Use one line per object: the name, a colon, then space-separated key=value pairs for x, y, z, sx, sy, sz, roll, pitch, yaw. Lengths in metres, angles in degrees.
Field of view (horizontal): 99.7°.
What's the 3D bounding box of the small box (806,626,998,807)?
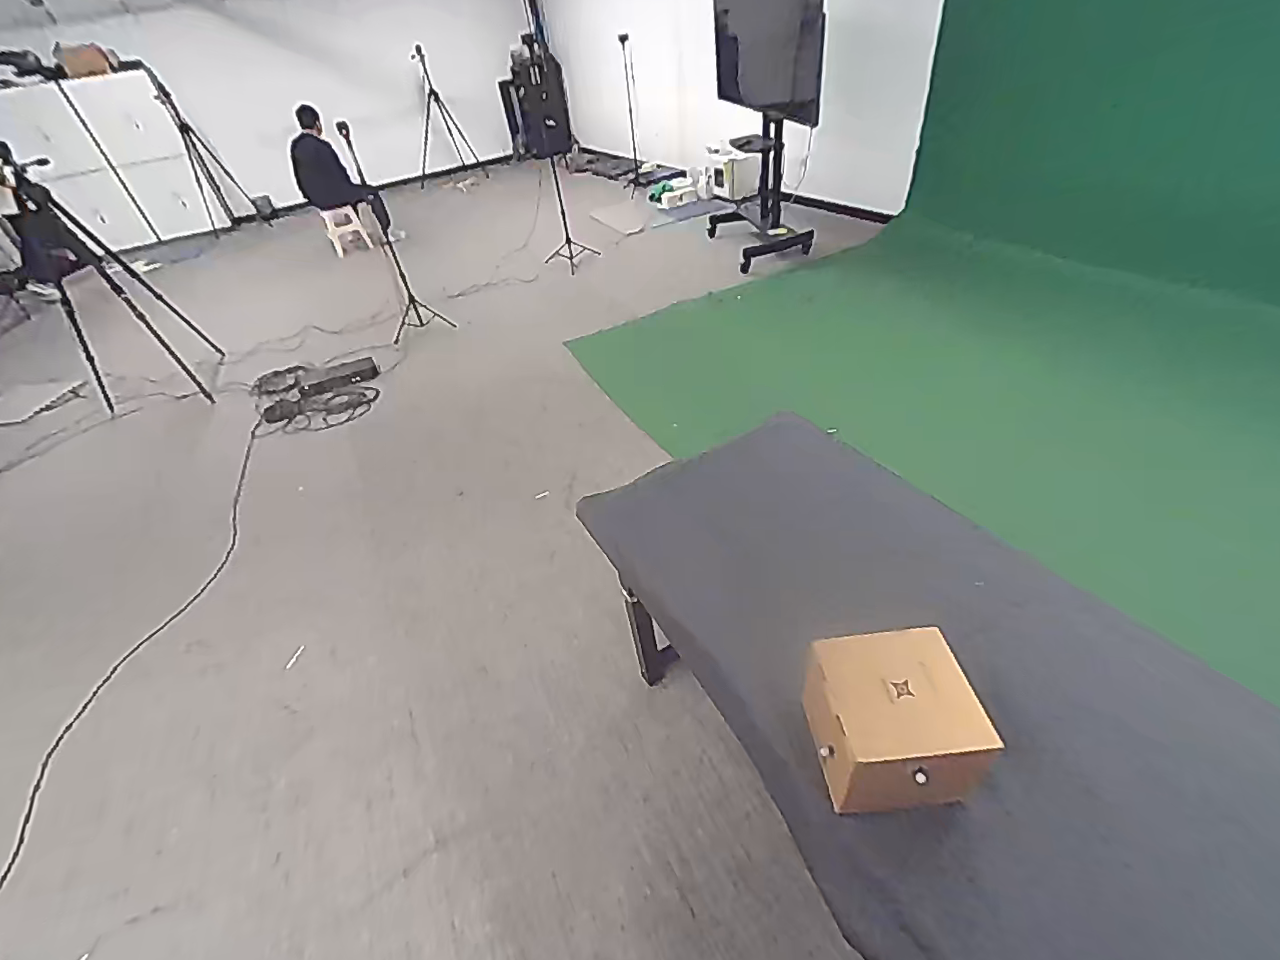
small box: x=0.334 y=0.325 z=0.738 sx=0.179 sy=0.176 sz=0.168 roll=-7 pitch=41 yaw=1
